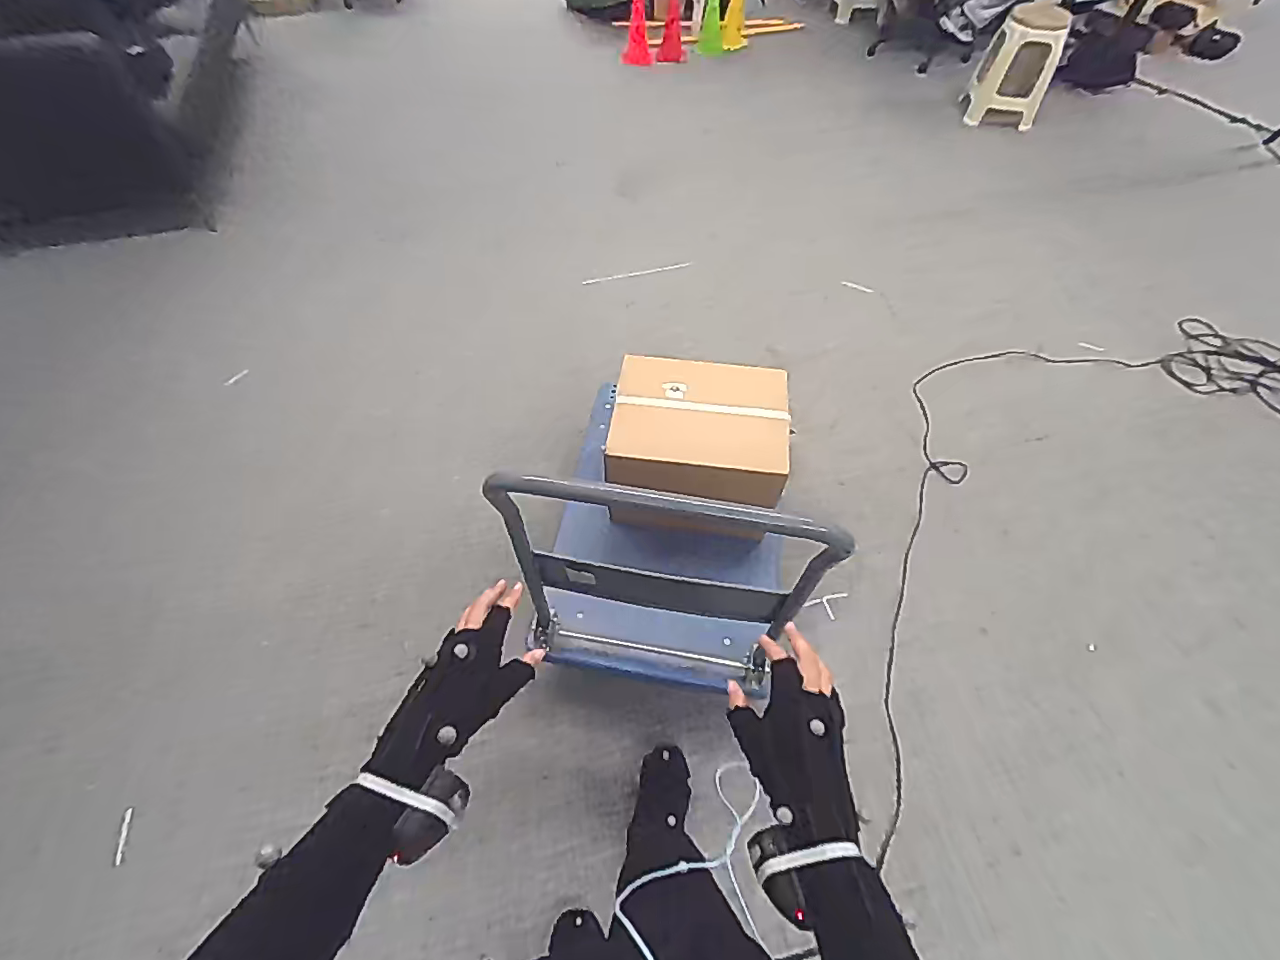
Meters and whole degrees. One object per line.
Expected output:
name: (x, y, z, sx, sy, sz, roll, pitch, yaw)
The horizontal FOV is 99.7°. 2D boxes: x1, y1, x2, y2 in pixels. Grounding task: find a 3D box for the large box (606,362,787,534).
large box: (0.142, -0.075, 1.384, 0.408, 0.320, 0.320, 5, 56, 5)
